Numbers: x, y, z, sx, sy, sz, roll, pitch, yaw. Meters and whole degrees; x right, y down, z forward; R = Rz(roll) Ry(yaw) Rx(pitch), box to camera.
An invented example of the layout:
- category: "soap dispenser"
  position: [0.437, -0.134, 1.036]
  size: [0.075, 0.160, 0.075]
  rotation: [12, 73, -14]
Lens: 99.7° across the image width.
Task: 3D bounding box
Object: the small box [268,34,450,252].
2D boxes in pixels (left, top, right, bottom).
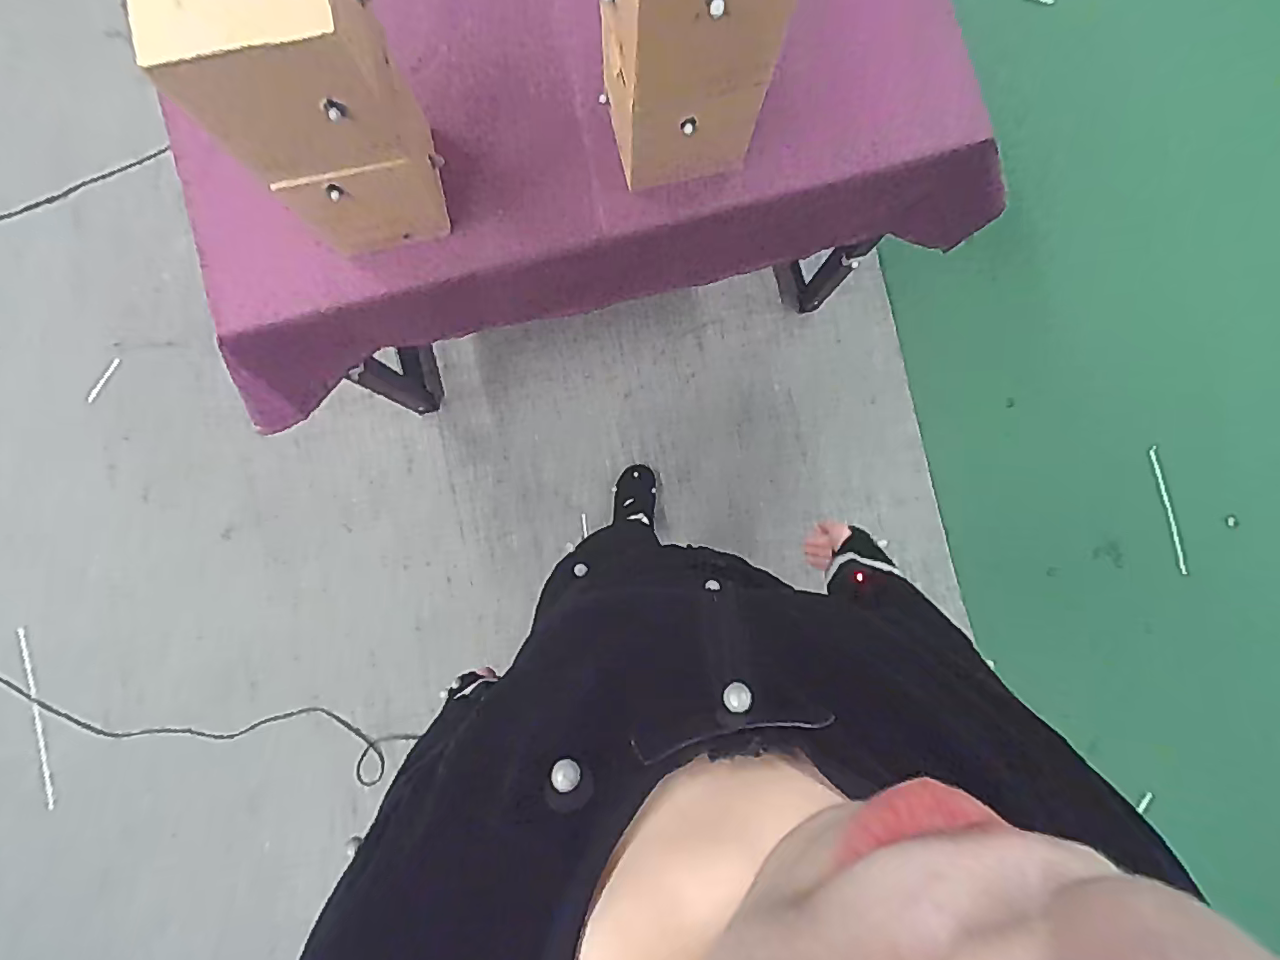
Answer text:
- category: "small box"
  position: [-0.373, -0.439, 0.722]
  size: [0.168, 0.176, 0.179]
  rotation: [-13, 86, -2]

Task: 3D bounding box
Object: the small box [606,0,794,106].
- category: "small box"
  position: [0.059, -0.548, 0.577]
  size: [0.179, 0.176, 0.168]
  rotation: [-14, 87, -1]

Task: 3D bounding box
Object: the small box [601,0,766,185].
- category: "small box"
  position: [0.051, -0.537, 0.740]
  size: [0.179, 0.176, 0.168]
  rotation: [-13, 87, -3]

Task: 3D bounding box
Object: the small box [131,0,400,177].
- category: "small box"
  position: [-0.368, -0.450, 0.559]
  size: [0.179, 0.176, 0.168]
  rotation: [-11, 86, -2]
